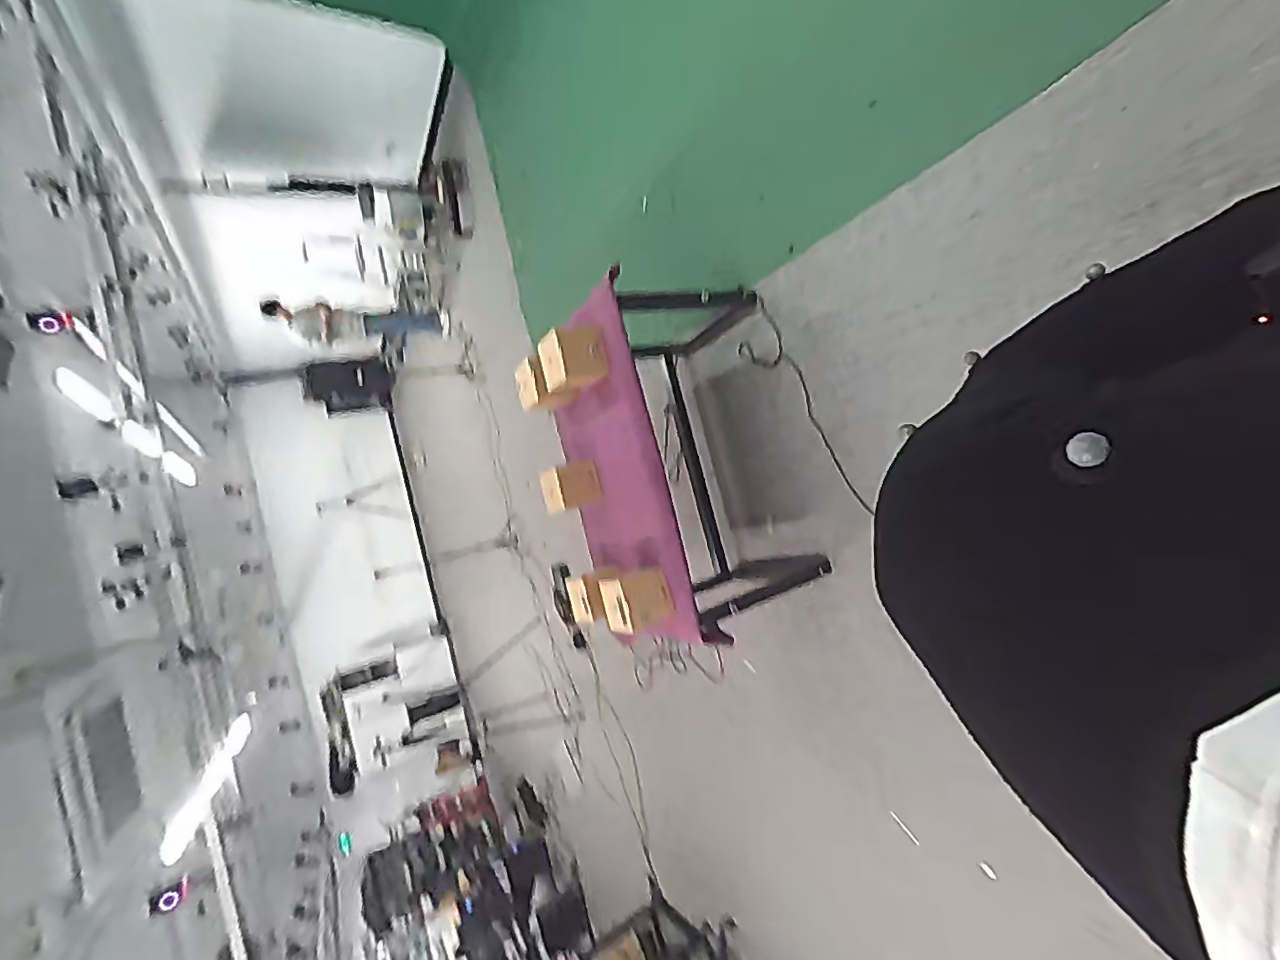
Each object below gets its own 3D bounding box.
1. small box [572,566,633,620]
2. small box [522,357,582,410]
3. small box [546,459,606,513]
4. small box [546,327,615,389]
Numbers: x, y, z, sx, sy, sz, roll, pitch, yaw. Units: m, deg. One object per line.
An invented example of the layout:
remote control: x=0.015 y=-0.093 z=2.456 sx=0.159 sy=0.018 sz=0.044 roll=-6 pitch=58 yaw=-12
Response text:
small box: x=-0.139 y=0.432 z=2.086 sx=0.179 sy=0.176 sz=0.168 roll=-22 pitch=81 yaw=59
small box: x=-0.341 y=-0.382 z=2.121 sx=0.179 sy=0.176 sz=0.168 roll=-17 pitch=86 yaw=58
small box: x=-0.245 y=0.023 z=2.114 sx=0.179 sy=0.176 sz=0.168 roll=-19 pitch=83 yaw=59
small box: x=-0.207 y=-0.424 z=1.878 sx=0.179 sy=0.176 sz=0.168 roll=-13 pitch=91 yaw=60
